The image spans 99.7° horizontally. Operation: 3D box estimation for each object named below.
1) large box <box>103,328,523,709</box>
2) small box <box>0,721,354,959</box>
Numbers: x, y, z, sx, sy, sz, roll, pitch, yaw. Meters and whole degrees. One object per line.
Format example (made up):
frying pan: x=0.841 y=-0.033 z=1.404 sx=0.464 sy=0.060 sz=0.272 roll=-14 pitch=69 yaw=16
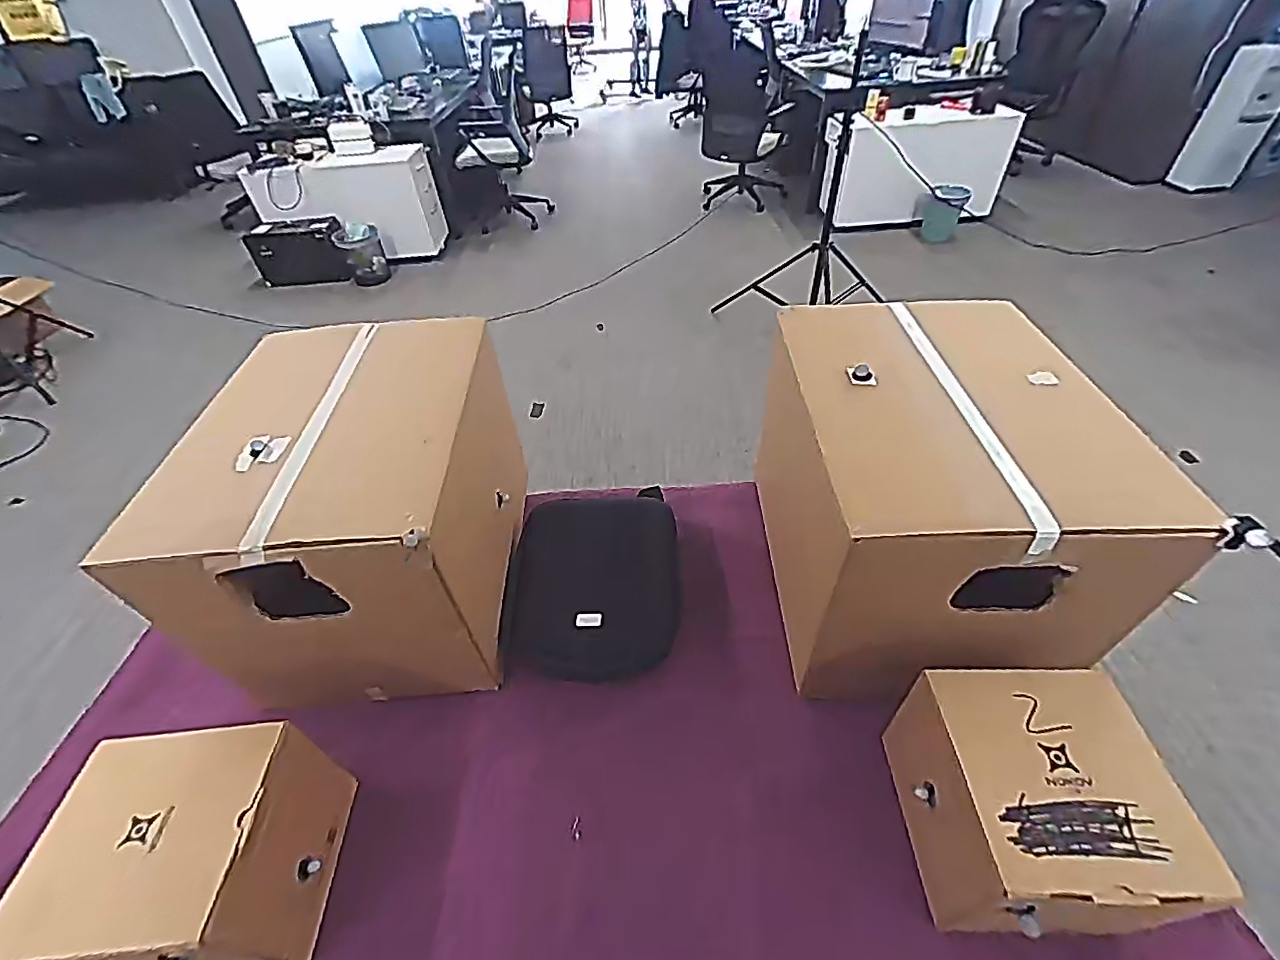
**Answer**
large box: x=-0.347 y=0.041 z=0.733 sx=0.320 sy=0.320 sz=0.408 roll=-6 pitch=46 yaw=-1
small box: x=-0.410 y=0.354 z=0.510 sx=0.179 sy=0.176 sz=0.168 roll=-6 pitch=43 yaw=-3
